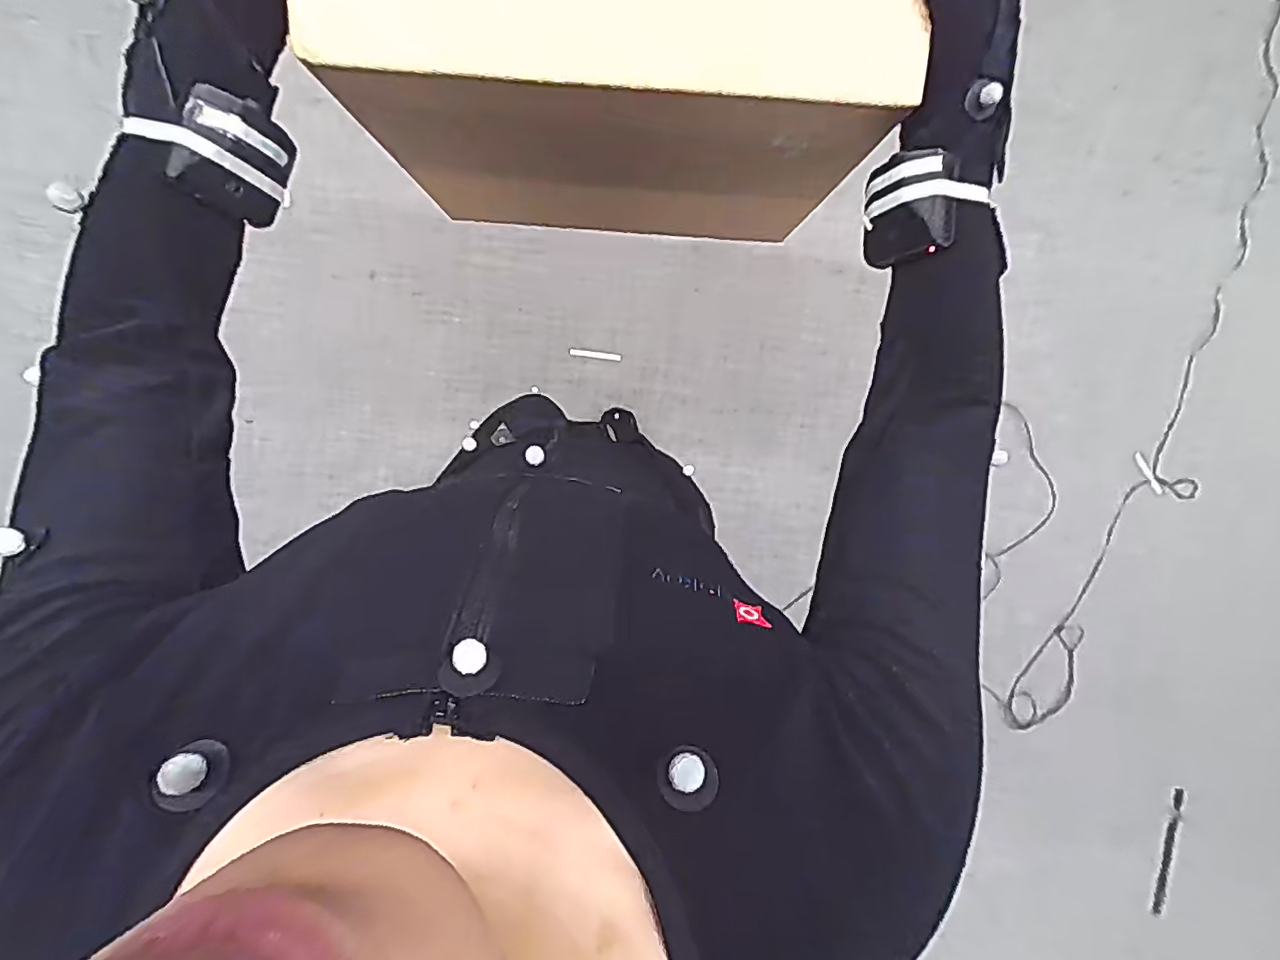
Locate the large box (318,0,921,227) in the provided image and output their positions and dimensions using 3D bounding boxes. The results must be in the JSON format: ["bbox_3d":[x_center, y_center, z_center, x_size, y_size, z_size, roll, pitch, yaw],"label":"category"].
[{"bbox_3d":[-0.012,-0.442,0.486,0.408,0.320,0.320,2,99,-3],"label":"large box"}]
